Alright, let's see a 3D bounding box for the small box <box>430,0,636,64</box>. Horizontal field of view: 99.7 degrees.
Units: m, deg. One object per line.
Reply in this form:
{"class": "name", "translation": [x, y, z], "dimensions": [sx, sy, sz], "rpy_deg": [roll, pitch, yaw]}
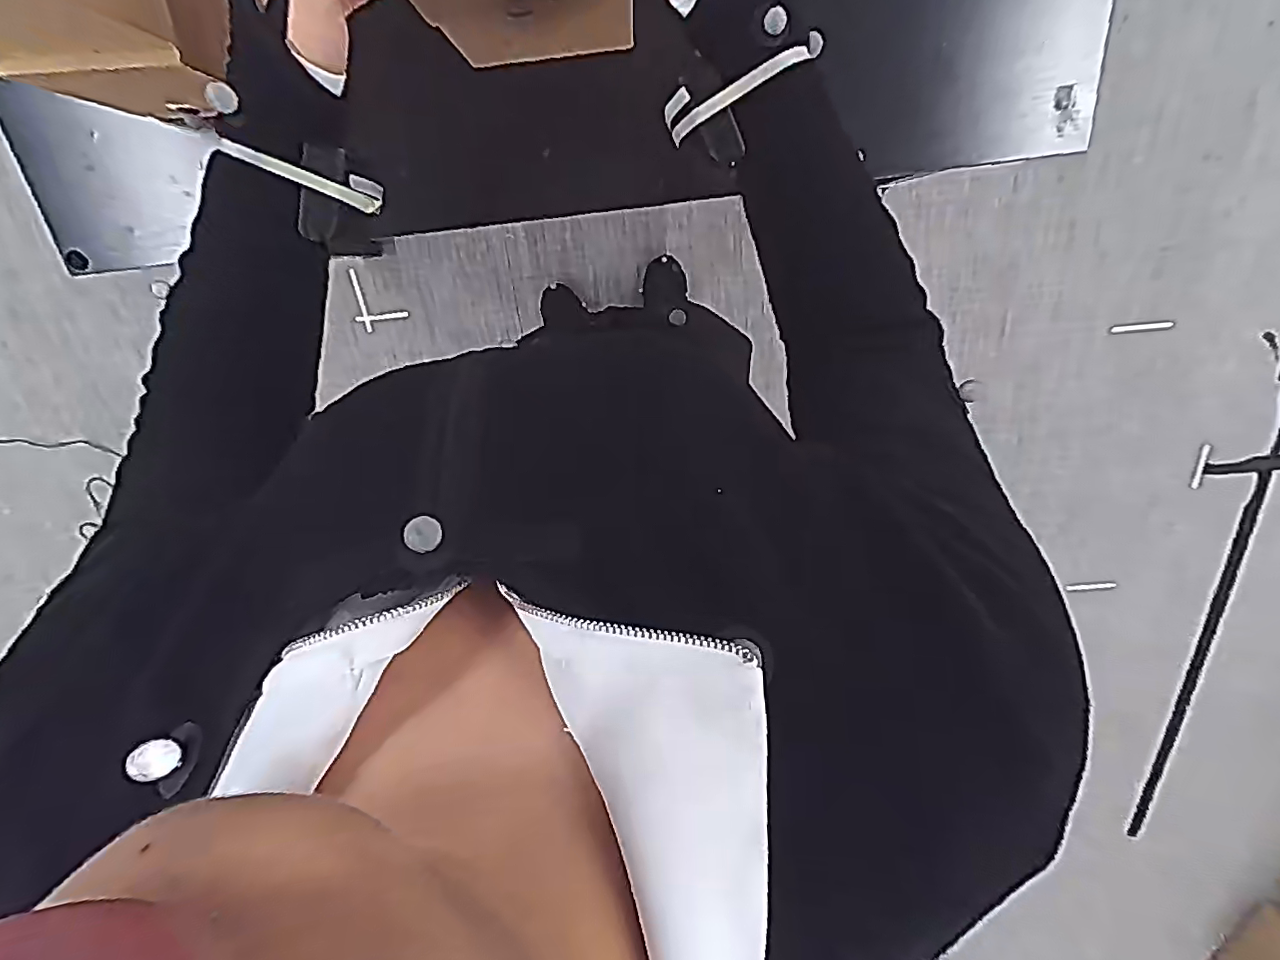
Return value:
{"class": "small box", "translation": [-0.097, -0.495, 0.473], "dimensions": [0.179, 0.176, 0.168], "rpy_deg": [-6, 112, 1]}

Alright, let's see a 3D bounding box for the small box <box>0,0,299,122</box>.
{"class": "small box", "translation": [-0.456, -0.450, 0.492], "dimensions": [0.168, 0.176, 0.179], "rpy_deg": [-3, 113, 2]}

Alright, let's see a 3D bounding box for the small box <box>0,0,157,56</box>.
{"class": "small box", "translation": [-0.462, -0.393, 0.336], "dimensions": [0.179, 0.176, 0.168], "rpy_deg": [-3, 112, 2]}

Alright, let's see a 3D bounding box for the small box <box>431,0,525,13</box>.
{"class": "small box", "translation": [-0.094, -0.422, 0.326], "dimensions": [0.168, 0.176, 0.179], "rpy_deg": [-8, 114, 3]}
